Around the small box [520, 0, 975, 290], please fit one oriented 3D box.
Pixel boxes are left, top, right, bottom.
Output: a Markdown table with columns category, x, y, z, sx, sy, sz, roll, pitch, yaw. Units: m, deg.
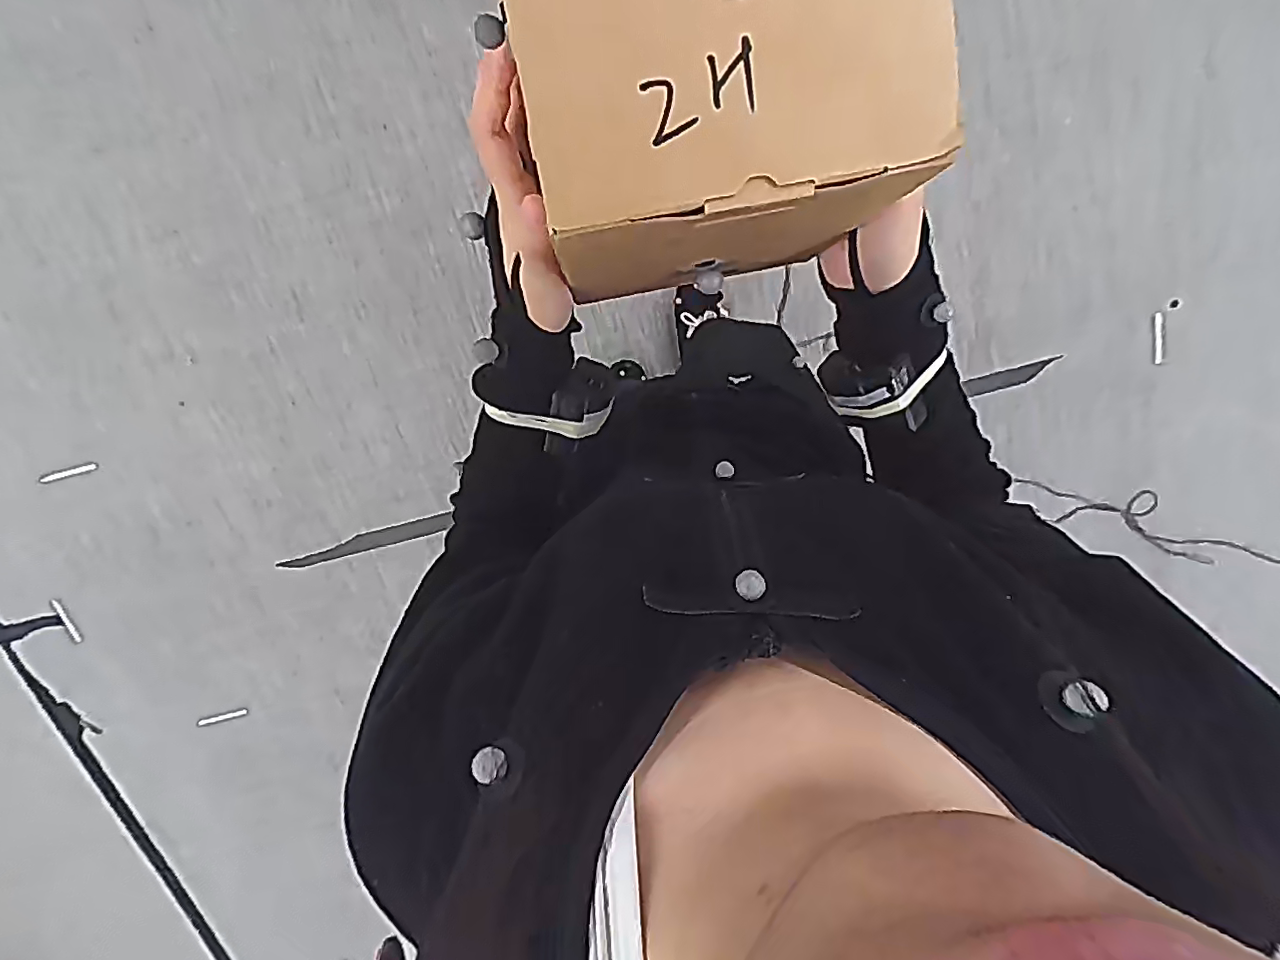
| category | x | y | z | sx | sy | sz | roll | pitch | yaw |
| --- | --- | --- | --- | --- | --- | --- | --- | --- | --- |
| small box | 0.029 | -0.212 | 0.272 | 0.168 | 0.176 | 0.179 | -12 | 100 | -2 |
